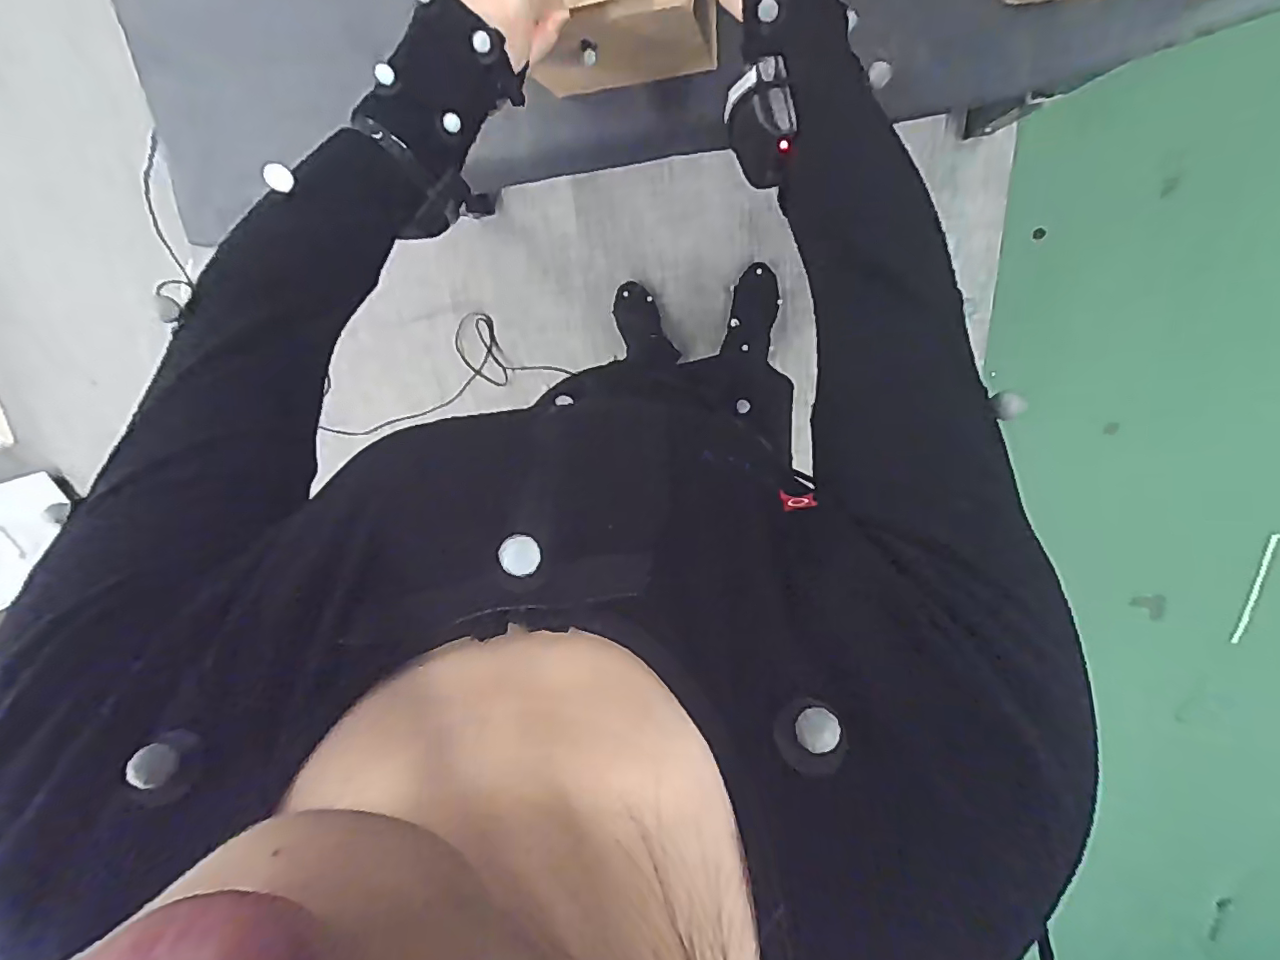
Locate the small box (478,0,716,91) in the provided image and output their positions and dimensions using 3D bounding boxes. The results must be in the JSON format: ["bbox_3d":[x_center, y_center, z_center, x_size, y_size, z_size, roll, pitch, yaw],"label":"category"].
[{"bbox_3d":[-0.031,-0.462,0.467,0.179,0.176,0.168,1,113,14],"label":"small box"}]
